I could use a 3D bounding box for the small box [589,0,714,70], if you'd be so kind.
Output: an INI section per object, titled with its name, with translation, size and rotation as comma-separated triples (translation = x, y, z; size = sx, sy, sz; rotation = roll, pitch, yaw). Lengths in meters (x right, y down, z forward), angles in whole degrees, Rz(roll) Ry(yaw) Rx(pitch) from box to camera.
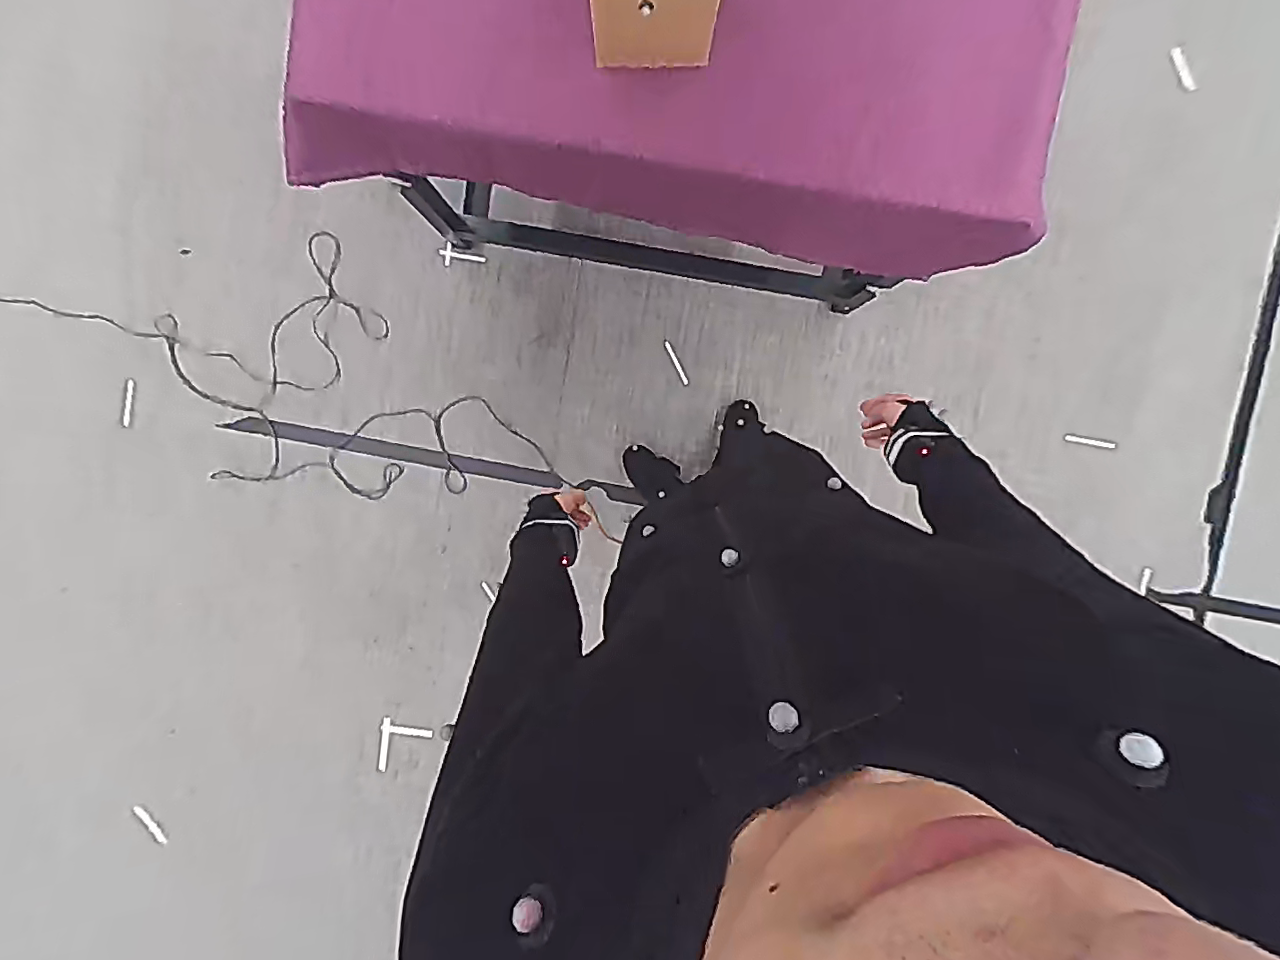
[small box]
translation = 0.015, -0.721, 0.767
size = 0.179, 0.176, 0.168
rotation = -1, 94, -1
